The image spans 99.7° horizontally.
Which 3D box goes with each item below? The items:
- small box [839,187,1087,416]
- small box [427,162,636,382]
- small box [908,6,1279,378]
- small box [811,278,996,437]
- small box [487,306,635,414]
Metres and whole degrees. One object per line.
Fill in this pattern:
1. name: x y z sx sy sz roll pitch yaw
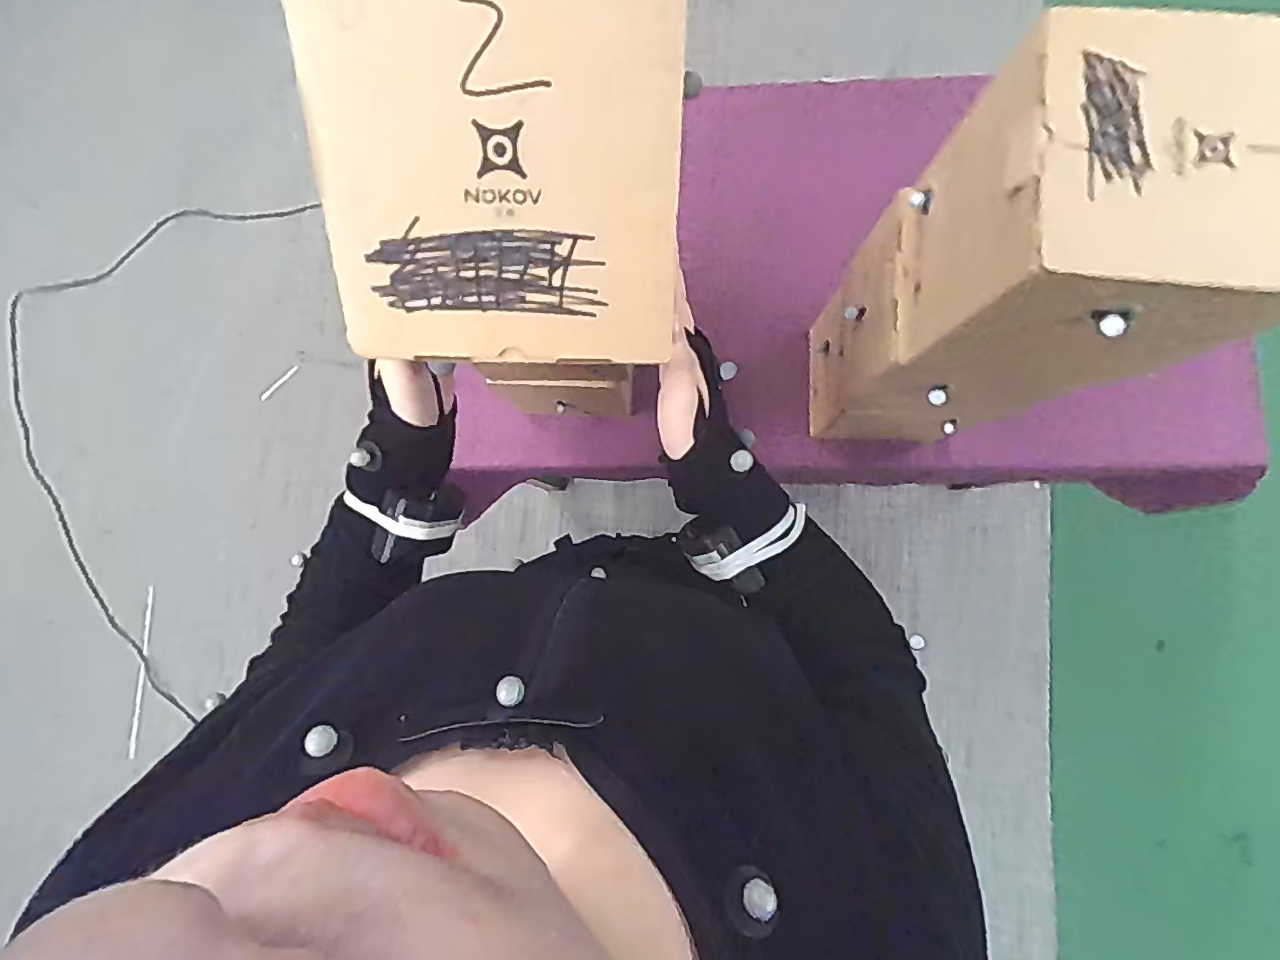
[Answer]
1. small box: 0.314 -0.165 0.547 0.179 0.176 0.168 5 86 4
2. small box: -0.100 -0.204 0.571 0.179 0.176 0.168 2 87 3
3. small box: 0.314 -0.178 0.382 0.179 0.176 0.168 6 85 2
4. small box: 0.329 -0.151 0.710 0.179 0.176 0.168 1 85 3
5. small box: -0.095 -0.191 0.735 0.168 0.176 0.179 3 85 3
